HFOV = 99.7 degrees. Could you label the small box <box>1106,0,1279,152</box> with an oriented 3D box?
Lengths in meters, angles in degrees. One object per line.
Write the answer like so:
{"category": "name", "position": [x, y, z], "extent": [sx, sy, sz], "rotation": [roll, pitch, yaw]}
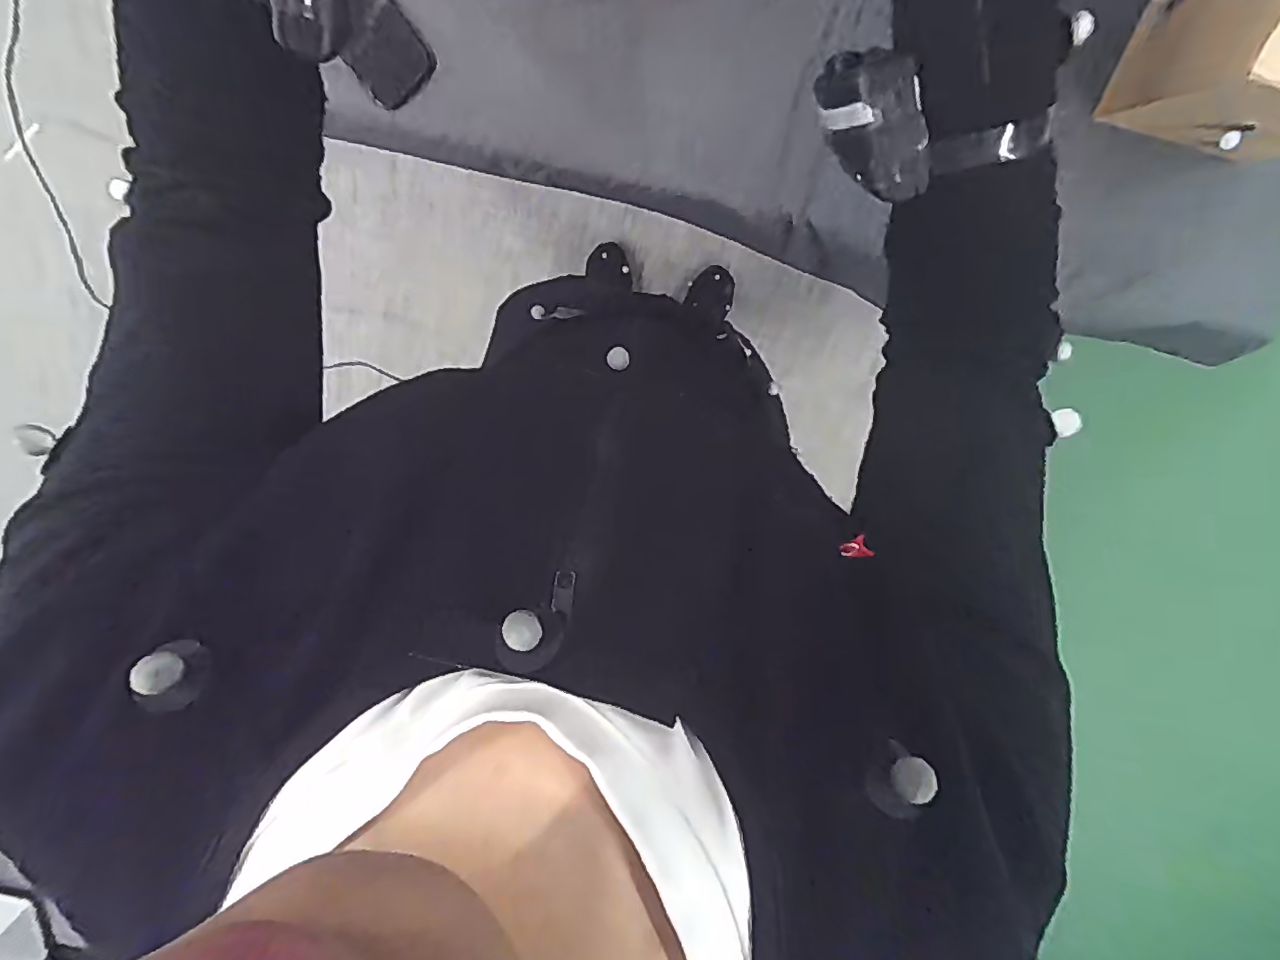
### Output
{"category": "small box", "position": [0.539, -0.385, 0.434], "extent": [0.168, 0.176, 0.179], "rotation": [14, 115, -2]}
